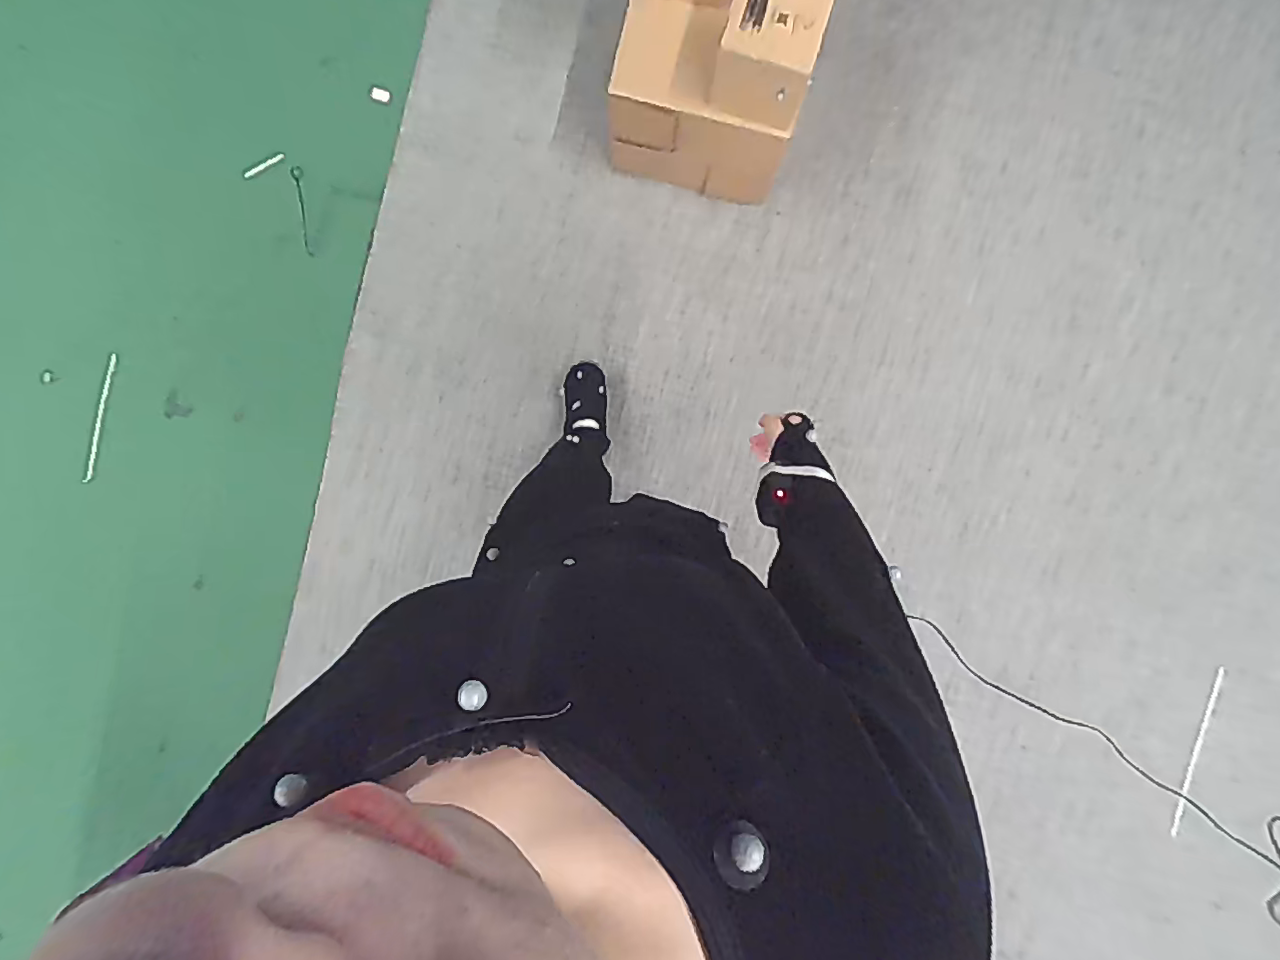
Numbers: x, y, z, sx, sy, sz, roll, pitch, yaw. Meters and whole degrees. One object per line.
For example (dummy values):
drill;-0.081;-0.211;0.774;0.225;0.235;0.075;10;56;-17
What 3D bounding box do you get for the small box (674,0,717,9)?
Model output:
small box;0.099;-1.090;1.056;0.168;0.176;0.179;15;89;2
